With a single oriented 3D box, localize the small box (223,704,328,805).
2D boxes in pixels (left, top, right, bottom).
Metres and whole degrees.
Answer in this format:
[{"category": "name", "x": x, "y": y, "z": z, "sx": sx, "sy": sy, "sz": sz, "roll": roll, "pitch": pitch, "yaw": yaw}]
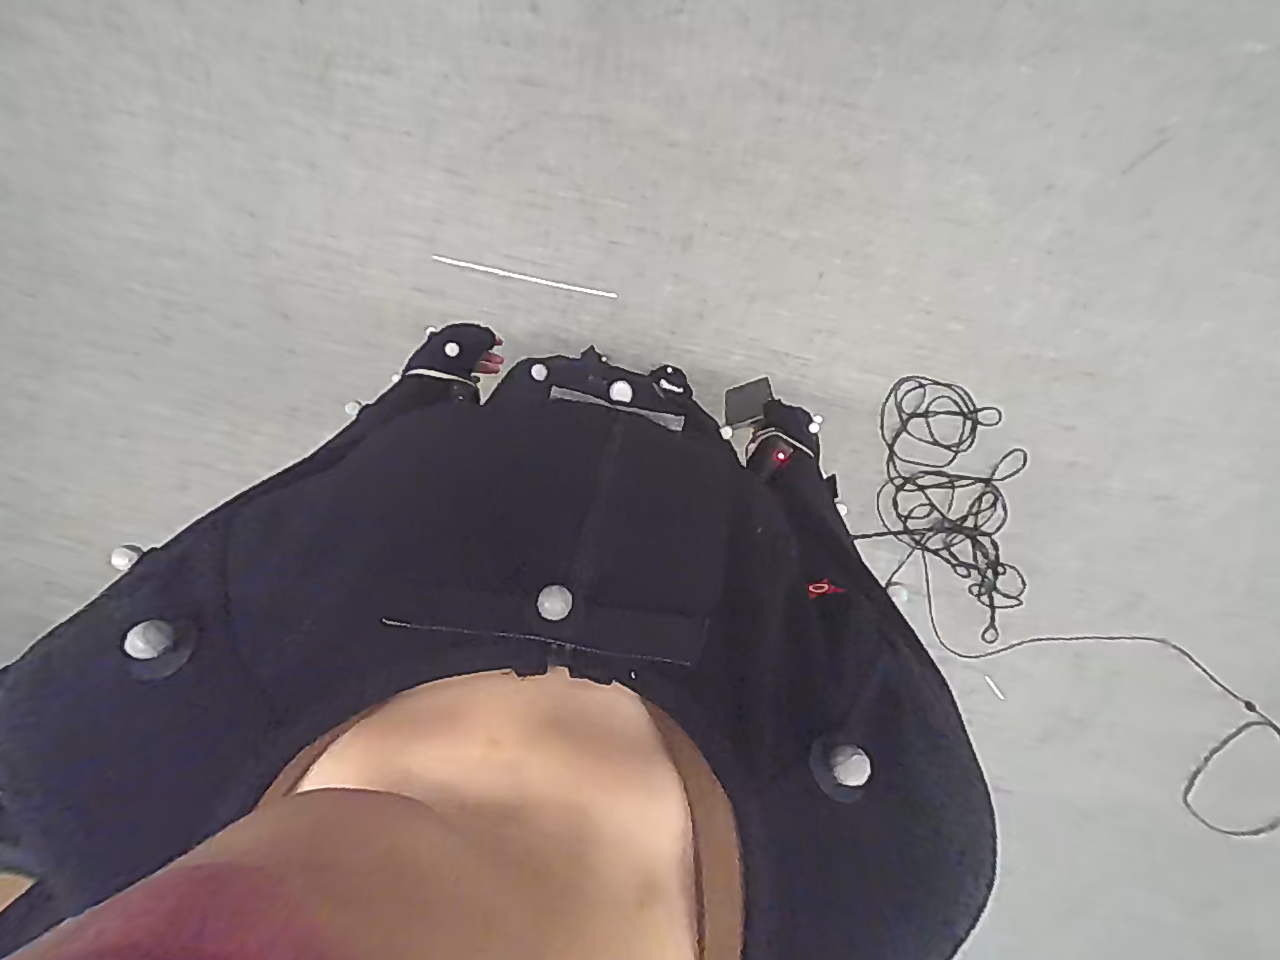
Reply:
[{"category": "small box", "x": -0.995, "y": 0.746, "z": 1.487, "sx": 0.179, "sy": 0.176, "sz": 0.168, "roll": 14, "pitch": 102, "yaw": -3}]
